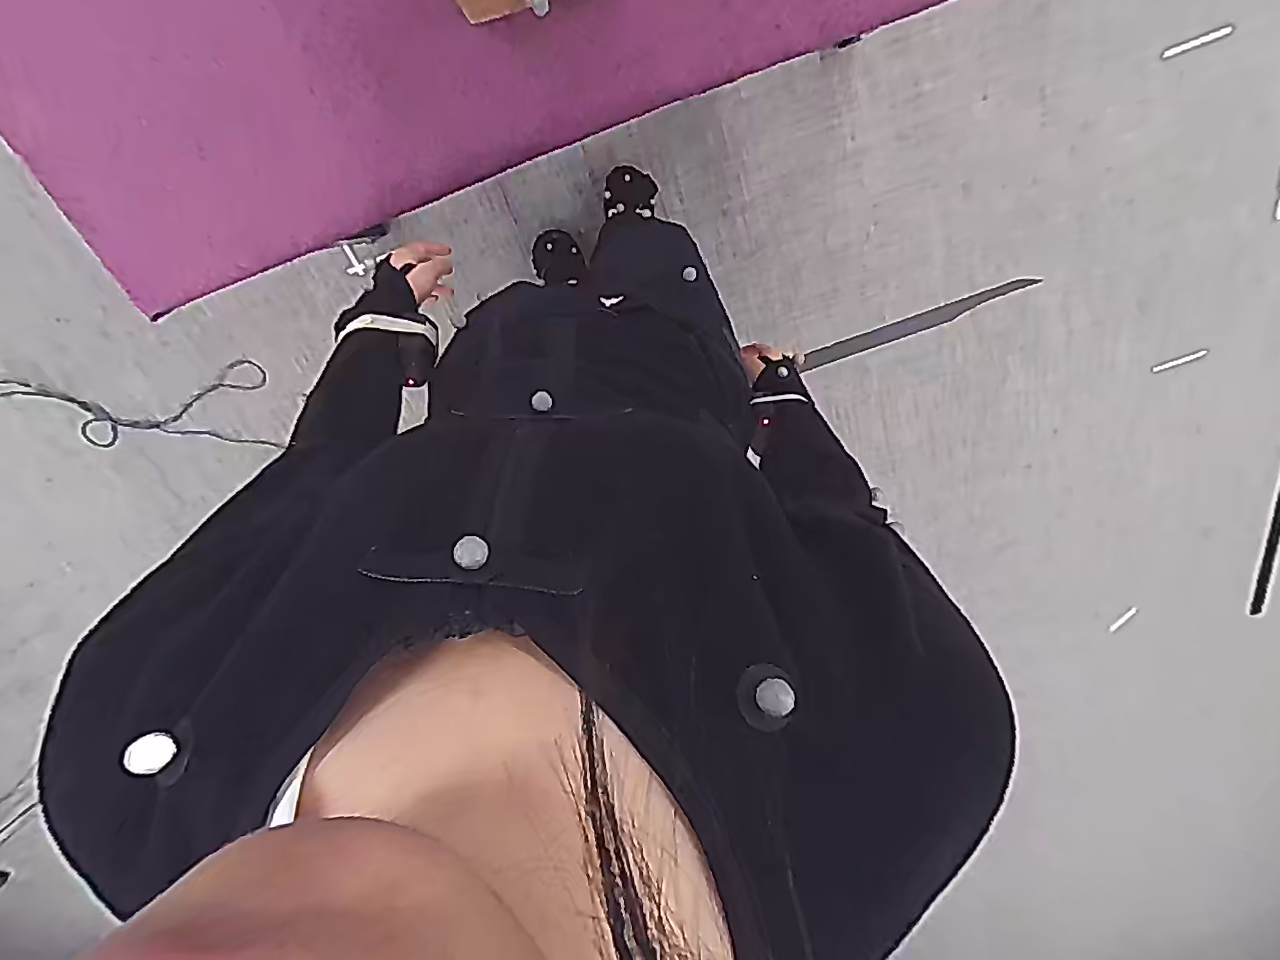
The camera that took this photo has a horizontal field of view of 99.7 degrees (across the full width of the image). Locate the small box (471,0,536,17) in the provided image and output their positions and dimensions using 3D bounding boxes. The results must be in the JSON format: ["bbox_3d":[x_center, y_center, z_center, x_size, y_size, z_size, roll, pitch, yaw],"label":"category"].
[{"bbox_3d":[-0.104,-0.516,0.421,0.168,0.176,0.179,-17,117,4],"label":"small box"}]
